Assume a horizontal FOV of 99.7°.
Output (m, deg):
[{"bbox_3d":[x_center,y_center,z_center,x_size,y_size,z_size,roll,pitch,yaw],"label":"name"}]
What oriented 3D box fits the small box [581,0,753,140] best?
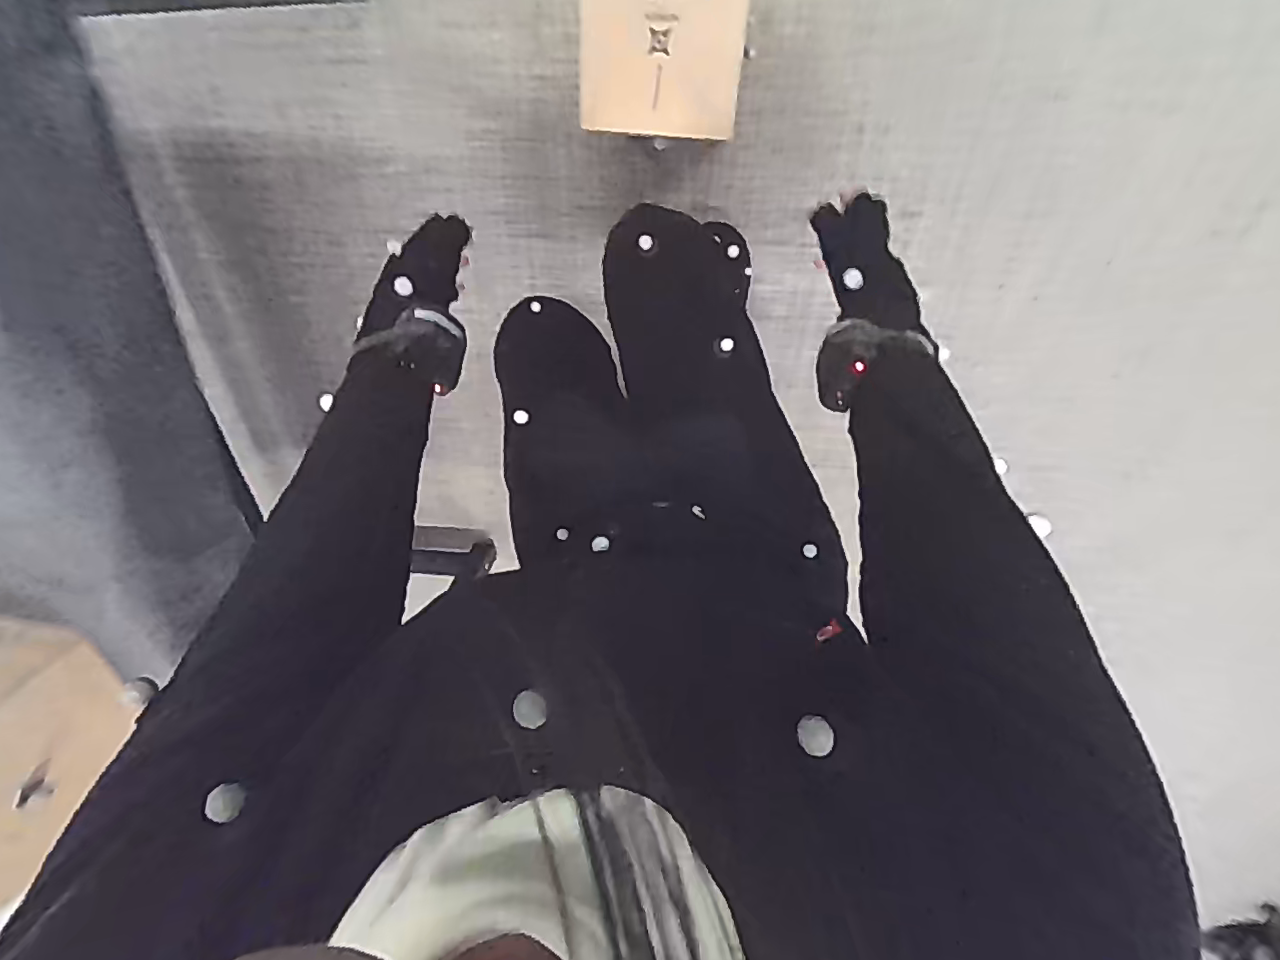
[{"bbox_3d":[0.034,-0.487,0.596,0.168,0.176,0.179,8,125,5],"label":"small box"}]
